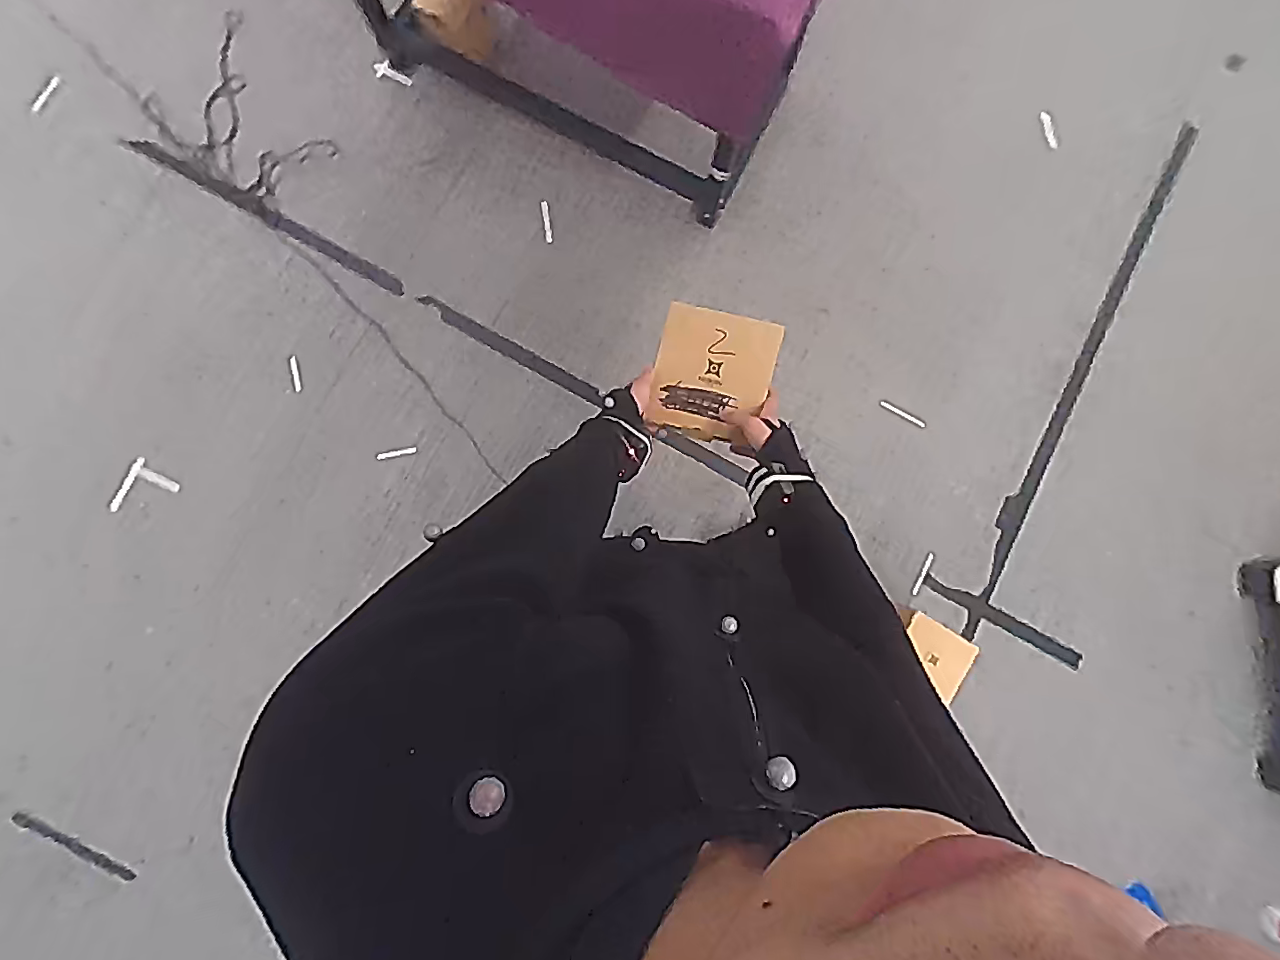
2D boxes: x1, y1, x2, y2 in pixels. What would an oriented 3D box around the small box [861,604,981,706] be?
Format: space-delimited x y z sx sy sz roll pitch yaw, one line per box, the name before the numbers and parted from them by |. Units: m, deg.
small box | 0.704 0.432 1.373 0.179 0.176 0.168 32 86 3
